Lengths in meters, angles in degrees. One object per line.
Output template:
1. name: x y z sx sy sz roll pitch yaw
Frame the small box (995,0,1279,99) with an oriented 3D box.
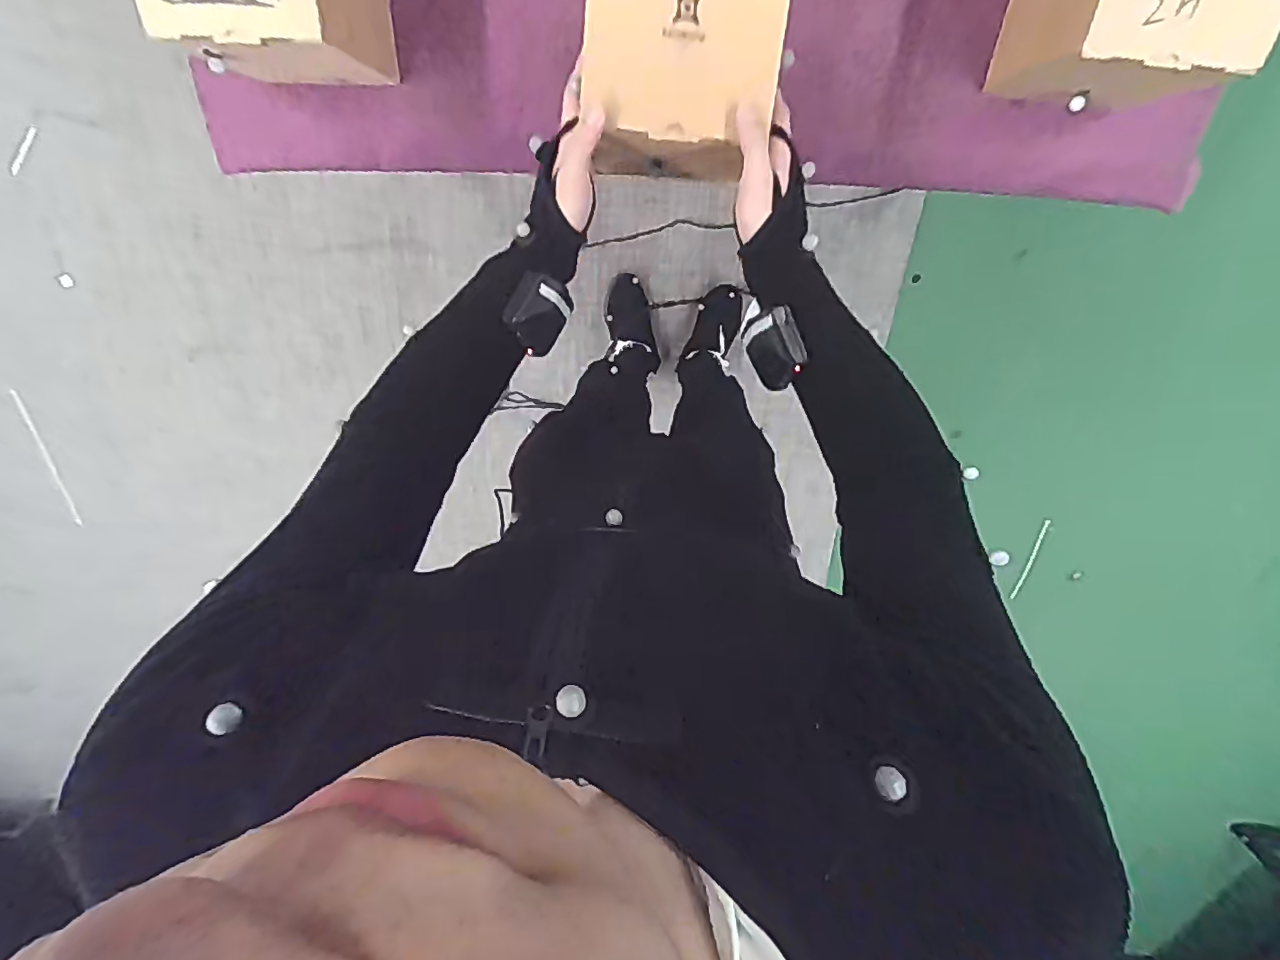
1. small box: 0.482 -0.490 0.513 0.168 0.176 0.179 6 117 1

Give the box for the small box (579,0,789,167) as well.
1. small box: 0.038 -0.412 0.503 0.168 0.176 0.179 5 112 0
